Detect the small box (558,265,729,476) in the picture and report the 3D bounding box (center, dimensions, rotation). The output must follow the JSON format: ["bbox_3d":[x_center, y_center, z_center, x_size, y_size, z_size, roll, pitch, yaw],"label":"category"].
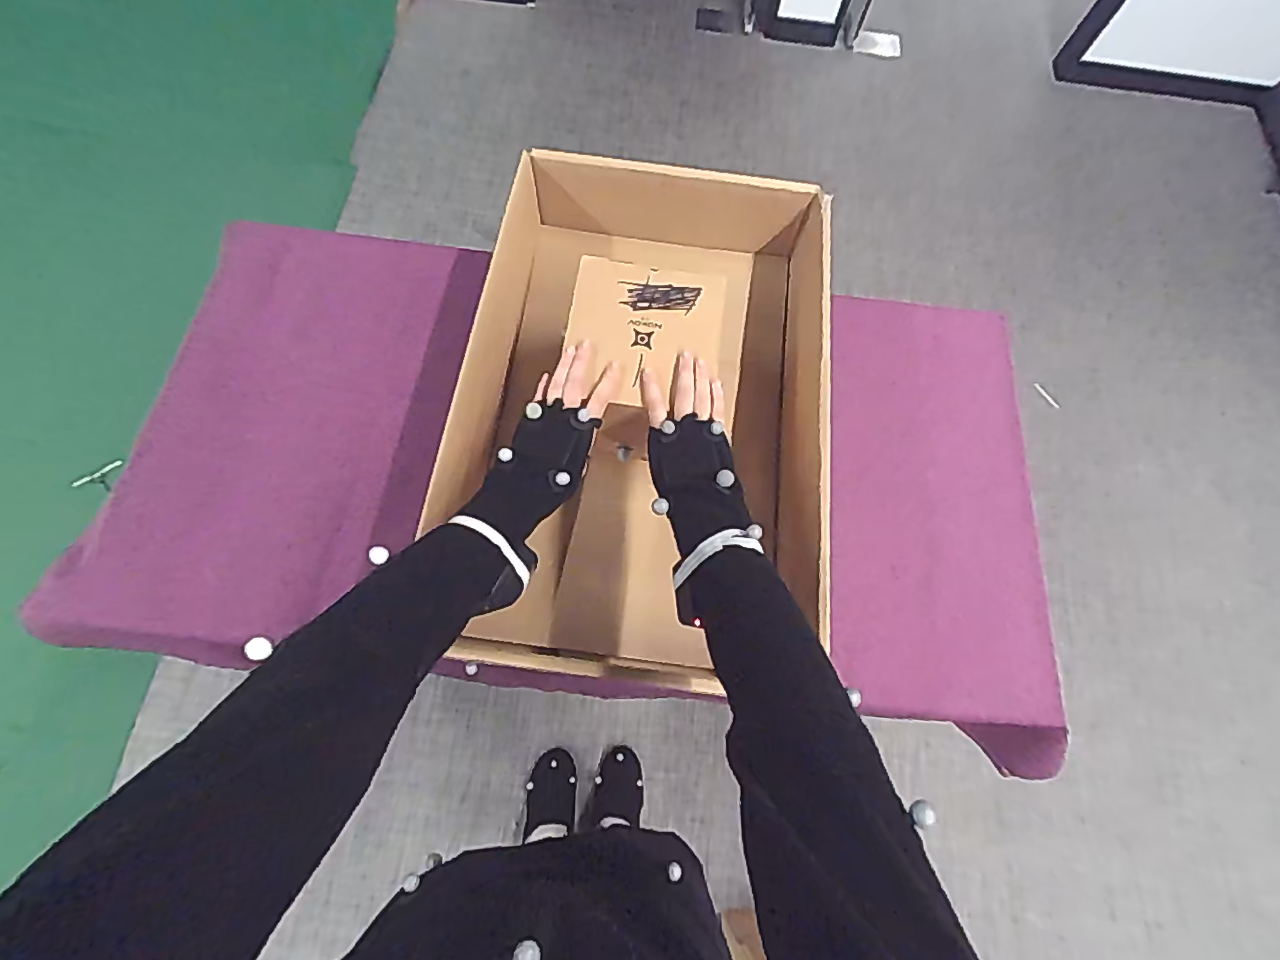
[{"bbox_3d":[0.003,-0.122,0.649,0.168,0.176,0.179,8,72,0],"label":"small box"}]

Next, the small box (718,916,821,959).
[{"bbox_3d":[0.255,1.009,1.087,0.179,0.176,0.168,2,70,-3],"label":"small box"}]
